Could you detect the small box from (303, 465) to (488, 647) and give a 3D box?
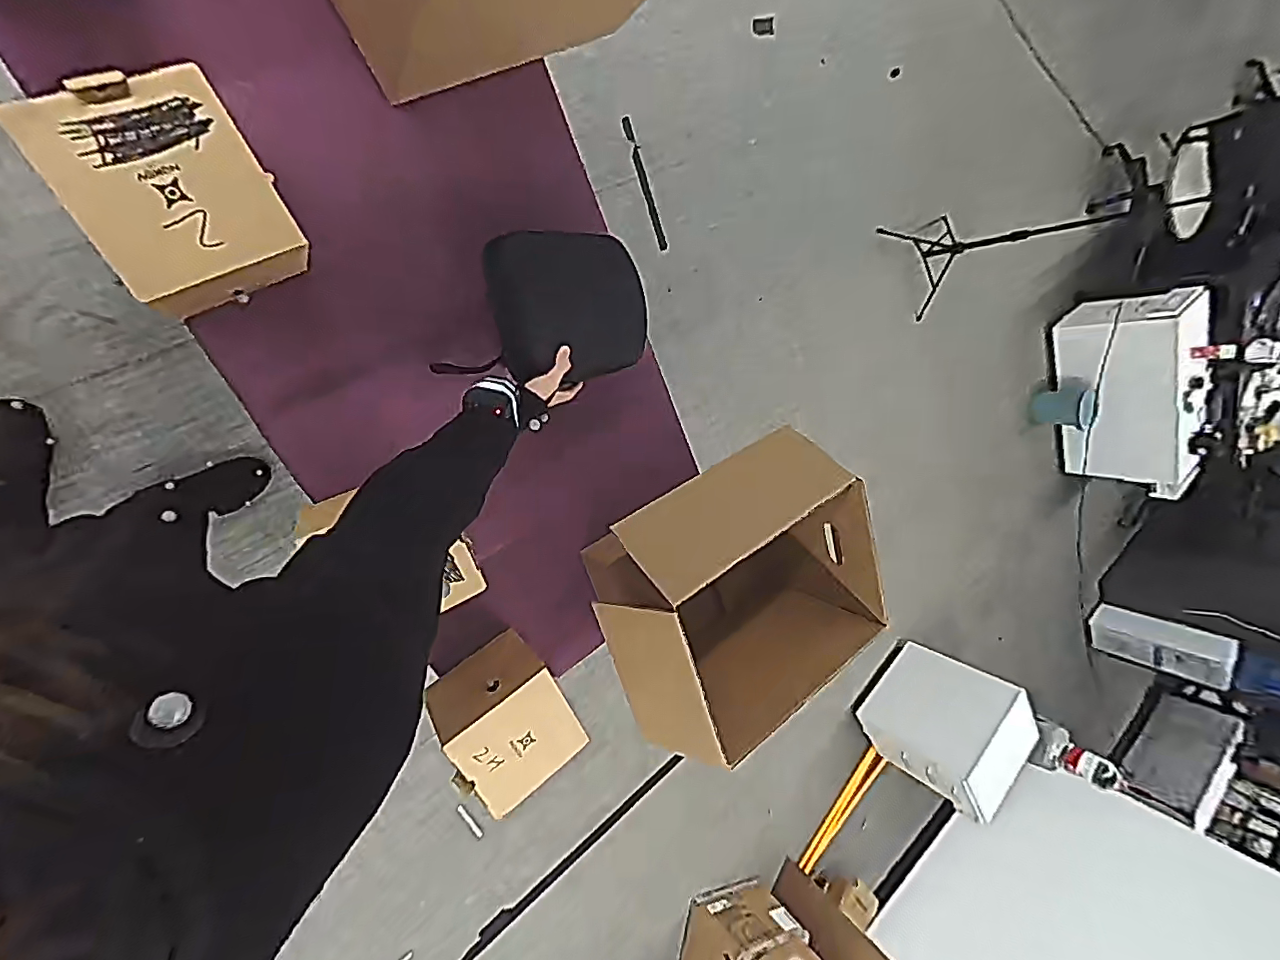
[{"bbox_3d":[-0.340,0.090,0.751,0.179,0.176,0.168,-25,111,-24],"label":"small box"}]

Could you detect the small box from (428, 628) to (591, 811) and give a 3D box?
[{"bbox_3d":[-0.215,0.372,0.877,0.179,0.176,0.168,-33,113,-23],"label":"small box"}]
